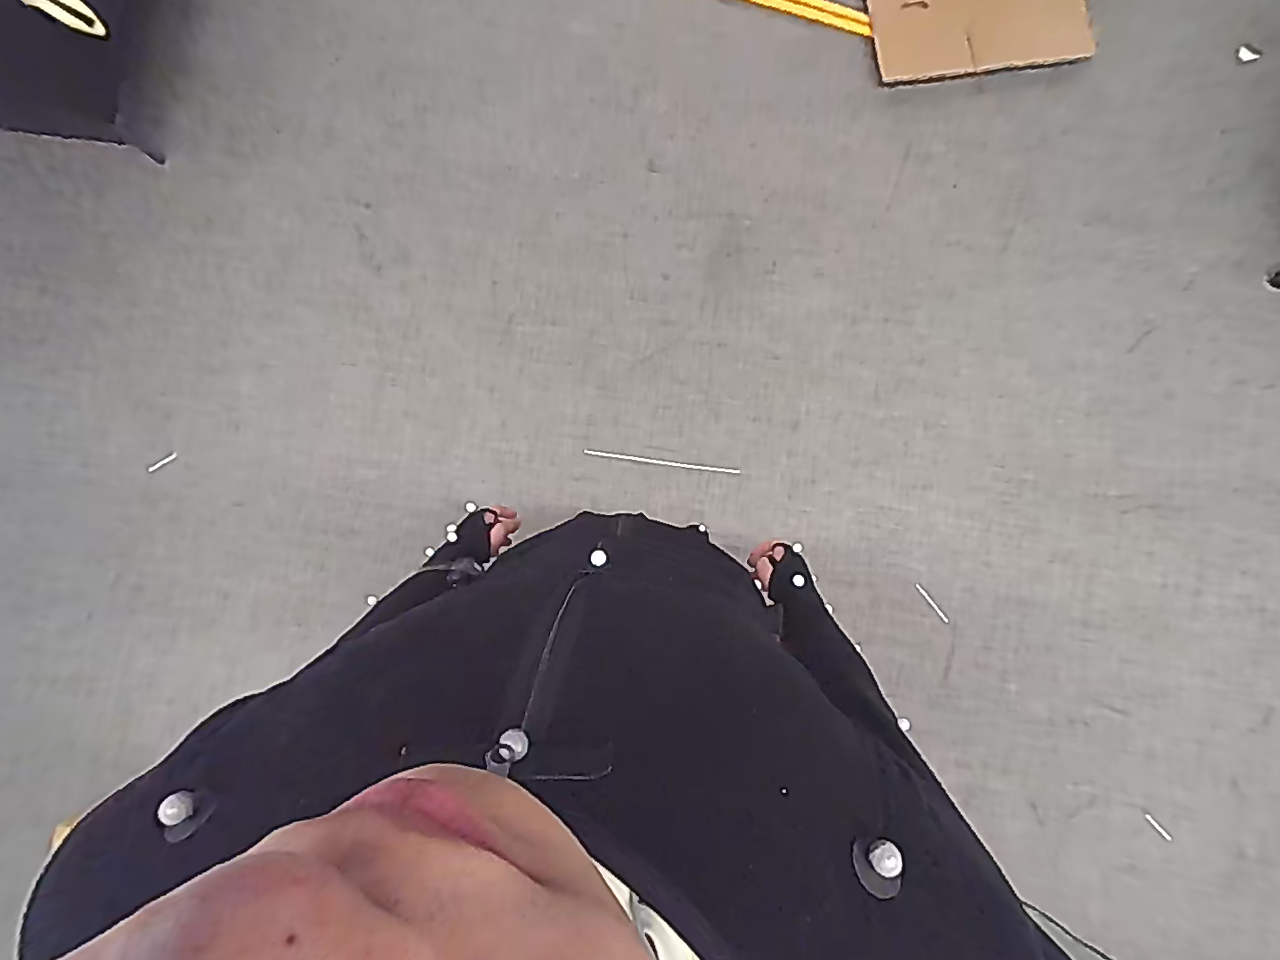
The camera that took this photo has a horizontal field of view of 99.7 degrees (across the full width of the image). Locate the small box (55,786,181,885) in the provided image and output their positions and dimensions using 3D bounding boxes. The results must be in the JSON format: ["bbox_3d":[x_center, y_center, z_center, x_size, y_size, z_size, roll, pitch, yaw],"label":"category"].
[{"bbox_3d":[-1.478,1.002,1.541,0.179,0.176,0.168,10,86,2],"label":"small box"}]

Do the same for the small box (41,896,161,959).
[{"bbox_3d":[-1.516,1.314,1.519,0.179,0.176,0.168,7,85,1],"label":"small box"}]
